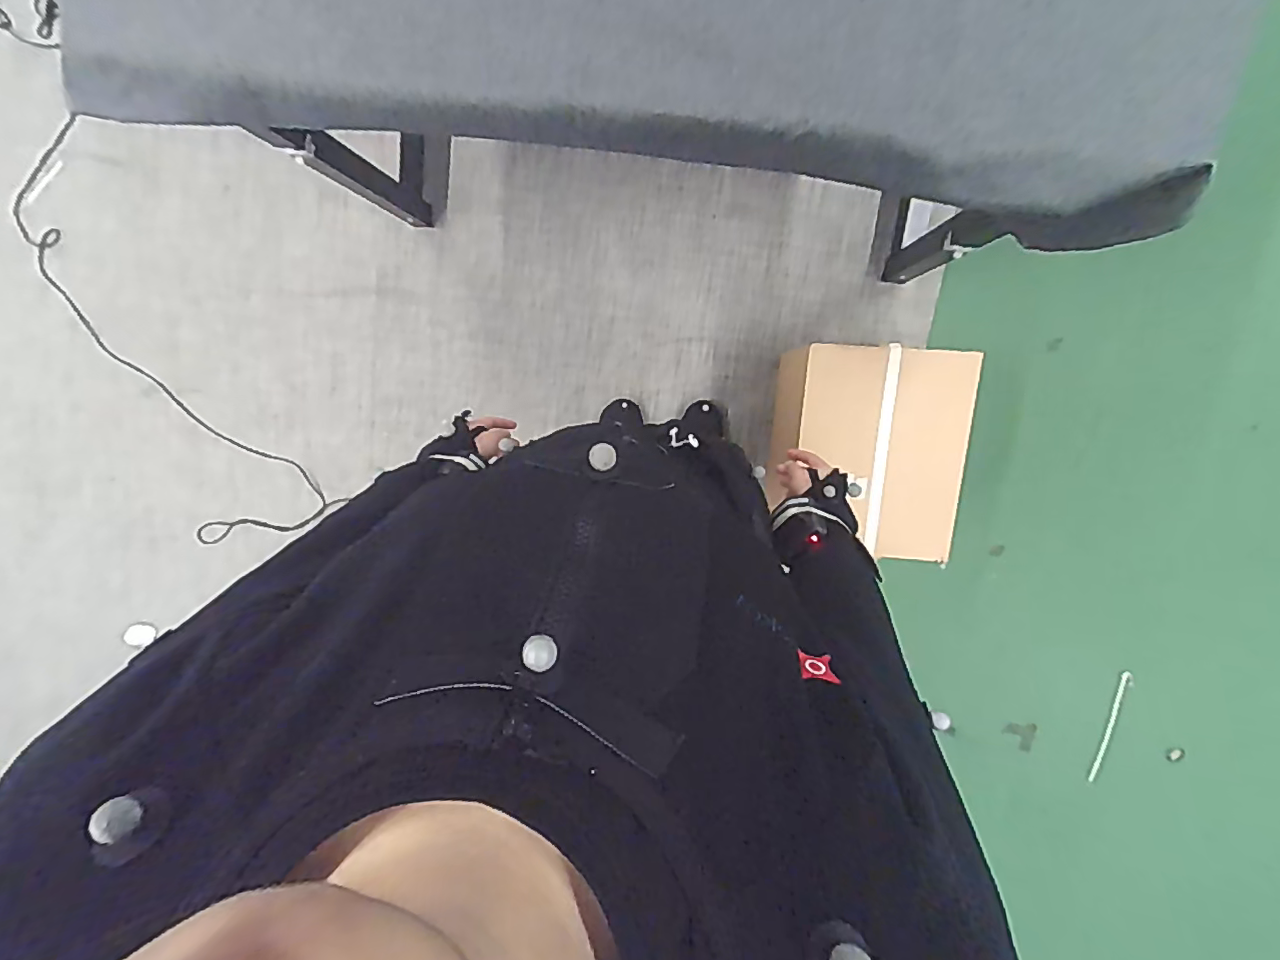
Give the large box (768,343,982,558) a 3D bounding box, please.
[{"bbox_3d":[0.469,-0.080,1.165,0.320,0.320,0.408,4,101,4],"label":"large box"}]
